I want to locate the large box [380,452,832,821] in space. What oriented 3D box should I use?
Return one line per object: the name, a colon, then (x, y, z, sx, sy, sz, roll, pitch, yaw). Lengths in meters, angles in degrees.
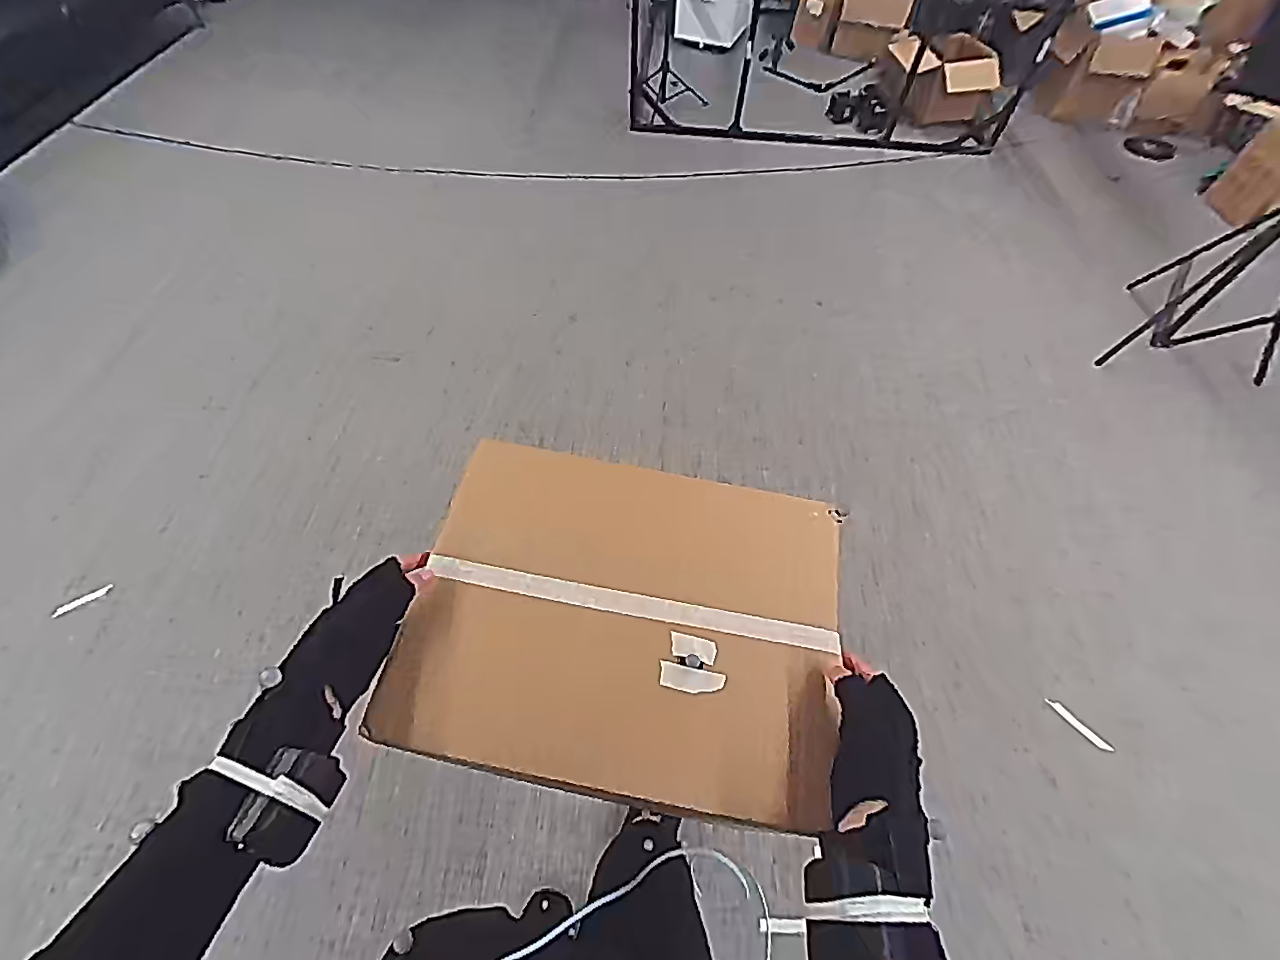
large box: (-0.020, 0.205, 0.666, 0.408, 0.320, 0.320, 11, 59, 2)
